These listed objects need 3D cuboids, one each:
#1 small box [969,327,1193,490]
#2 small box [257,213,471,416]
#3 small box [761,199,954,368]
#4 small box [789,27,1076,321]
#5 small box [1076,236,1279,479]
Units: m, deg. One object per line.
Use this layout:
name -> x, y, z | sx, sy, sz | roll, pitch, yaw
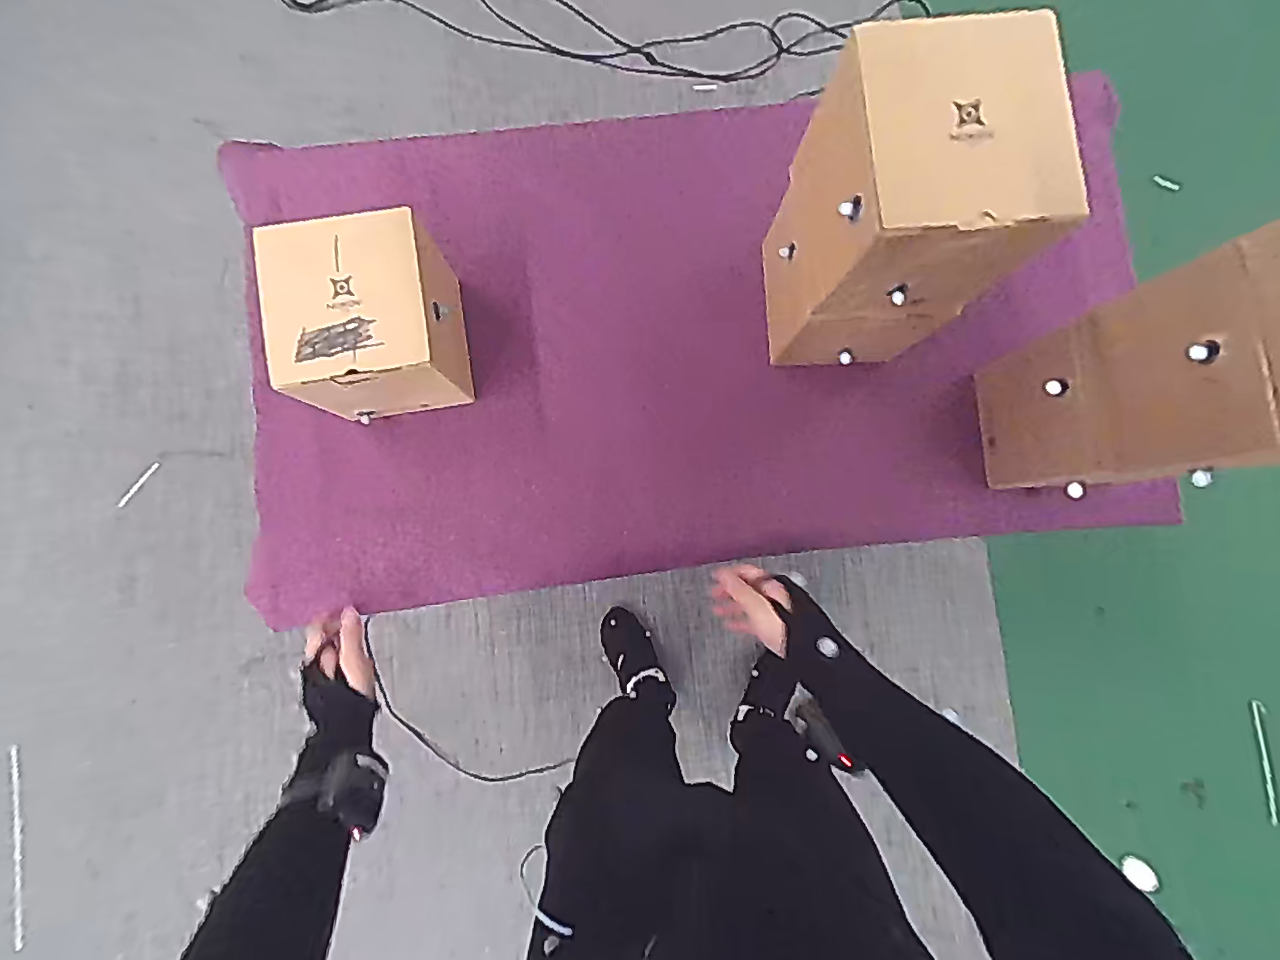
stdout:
small box -> 0.543, -0.078, 0.660 | 0.179, 0.176, 0.168 | -2, 83, -2
small box -> -0.311, -0.181, 0.644 | 0.168, 0.176, 0.179 | -9, 84, -3
small box -> 0.253, -0.249, 0.669 | 0.168, 0.176, 0.179 | -2, 85, -1
small box -> 0.250, -0.269, 0.508 | 0.168, 0.176, 0.179 | -5, 86, -2
small box -> 0.548, -0.099, 0.498 | 0.168, 0.176, 0.179 | -3, 84, 0
